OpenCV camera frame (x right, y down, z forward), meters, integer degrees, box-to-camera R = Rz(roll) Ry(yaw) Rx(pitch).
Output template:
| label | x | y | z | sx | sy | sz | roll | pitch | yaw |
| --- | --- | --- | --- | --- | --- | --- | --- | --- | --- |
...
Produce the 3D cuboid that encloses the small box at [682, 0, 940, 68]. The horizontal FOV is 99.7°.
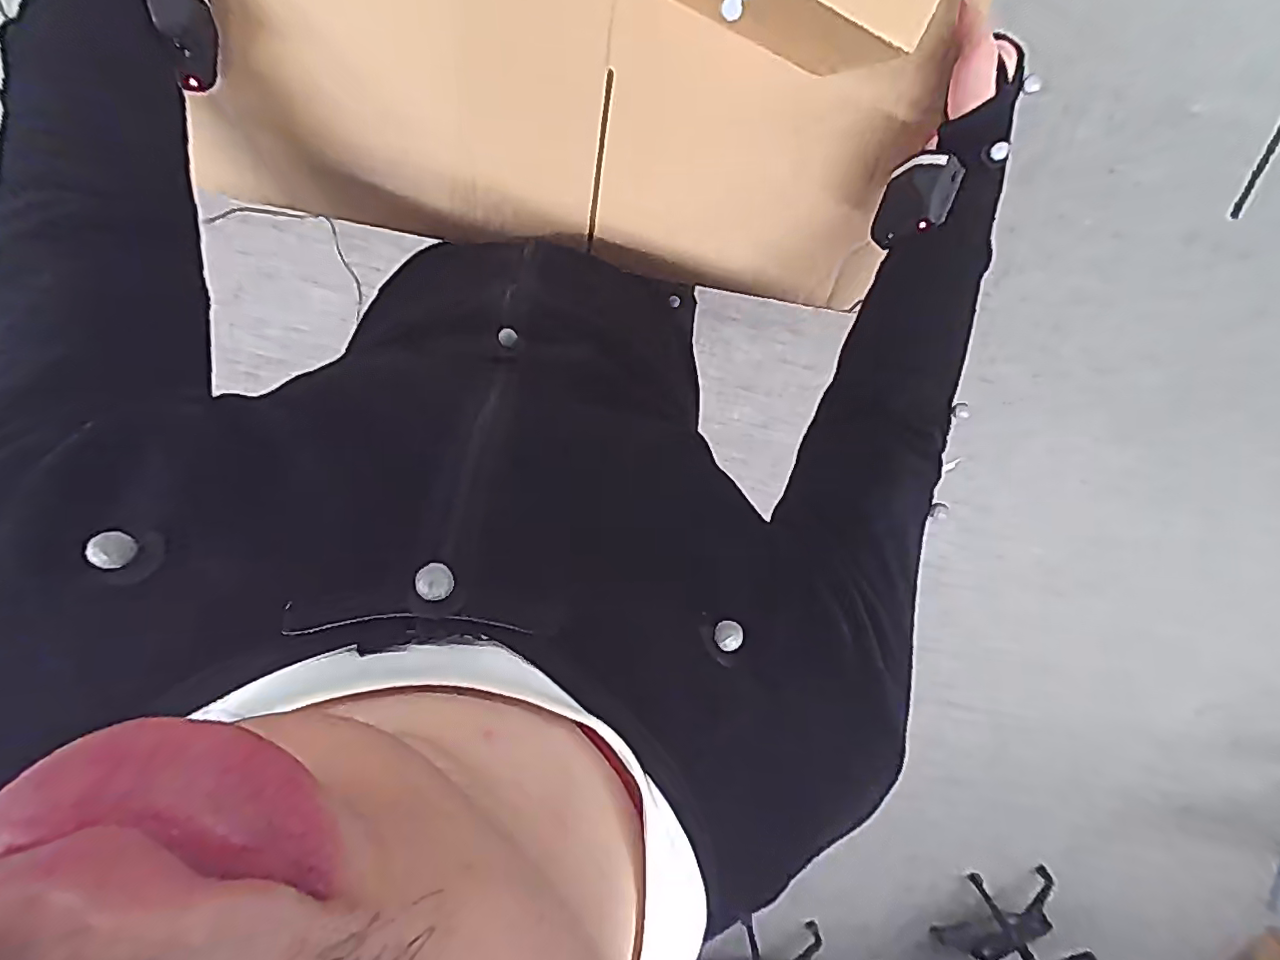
| label | x | y | z | sx | sy | sz | roll | pitch | yaw |
| --- | --- | --- | --- | --- | --- | --- | --- | --- | --- |
| small box | 0.112 | -0.391 | 0.338 | 0.179 | 0.176 | 0.168 | 17 | 120 | -13 |
